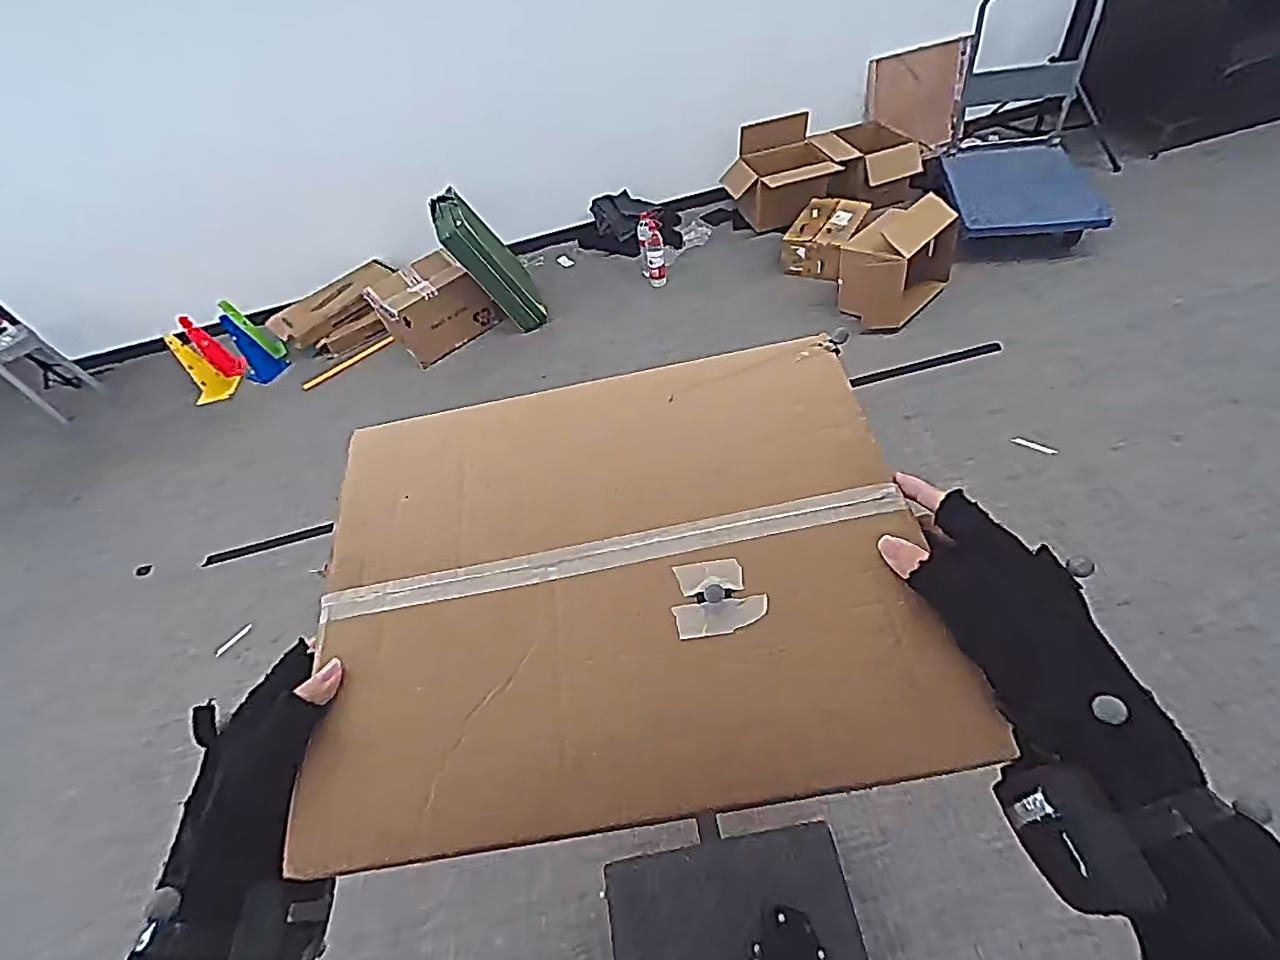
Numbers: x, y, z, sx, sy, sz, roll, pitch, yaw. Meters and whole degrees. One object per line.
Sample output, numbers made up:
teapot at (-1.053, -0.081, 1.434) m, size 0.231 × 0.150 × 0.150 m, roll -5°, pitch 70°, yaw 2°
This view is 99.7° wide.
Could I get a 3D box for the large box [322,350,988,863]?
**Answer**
large box at (0.001, 0.132, 0.514) m, size 0.408 × 0.320 × 0.320 m, roll -11°, pitch 59°, yaw 2°
